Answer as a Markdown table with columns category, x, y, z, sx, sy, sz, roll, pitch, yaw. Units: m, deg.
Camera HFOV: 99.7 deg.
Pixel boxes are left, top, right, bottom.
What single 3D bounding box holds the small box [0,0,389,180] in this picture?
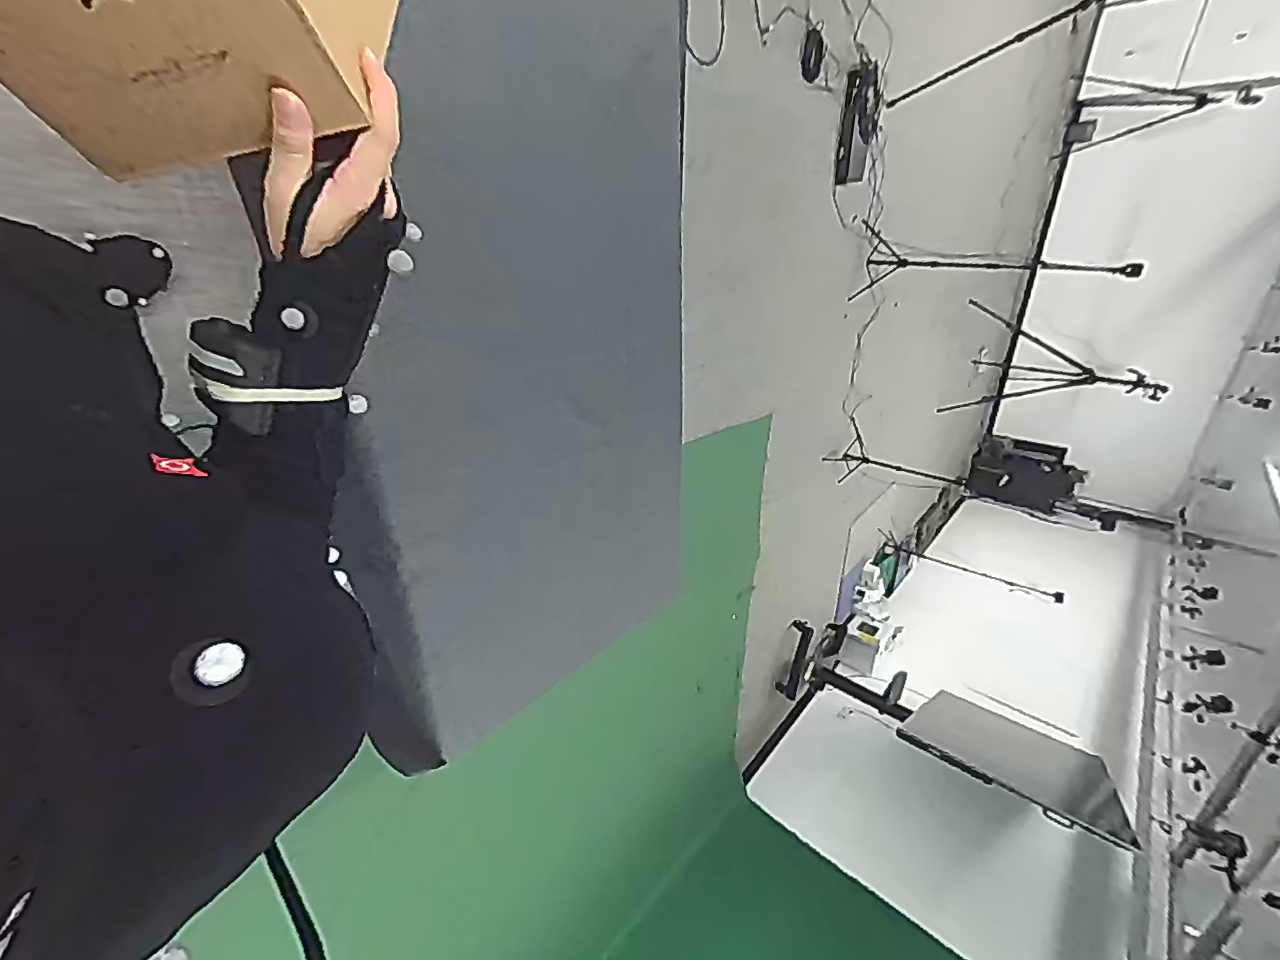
| category | x | y | z | sx | sy | sz | roll | pitch | yaw |
| --- | --- | --- | --- | --- | --- | --- | --- | --- | --- |
| small box | -0.247 | -0.291 | 0.259 | 0.179 | 0.168 | 0.176 | 65 | 19 | -65 |
